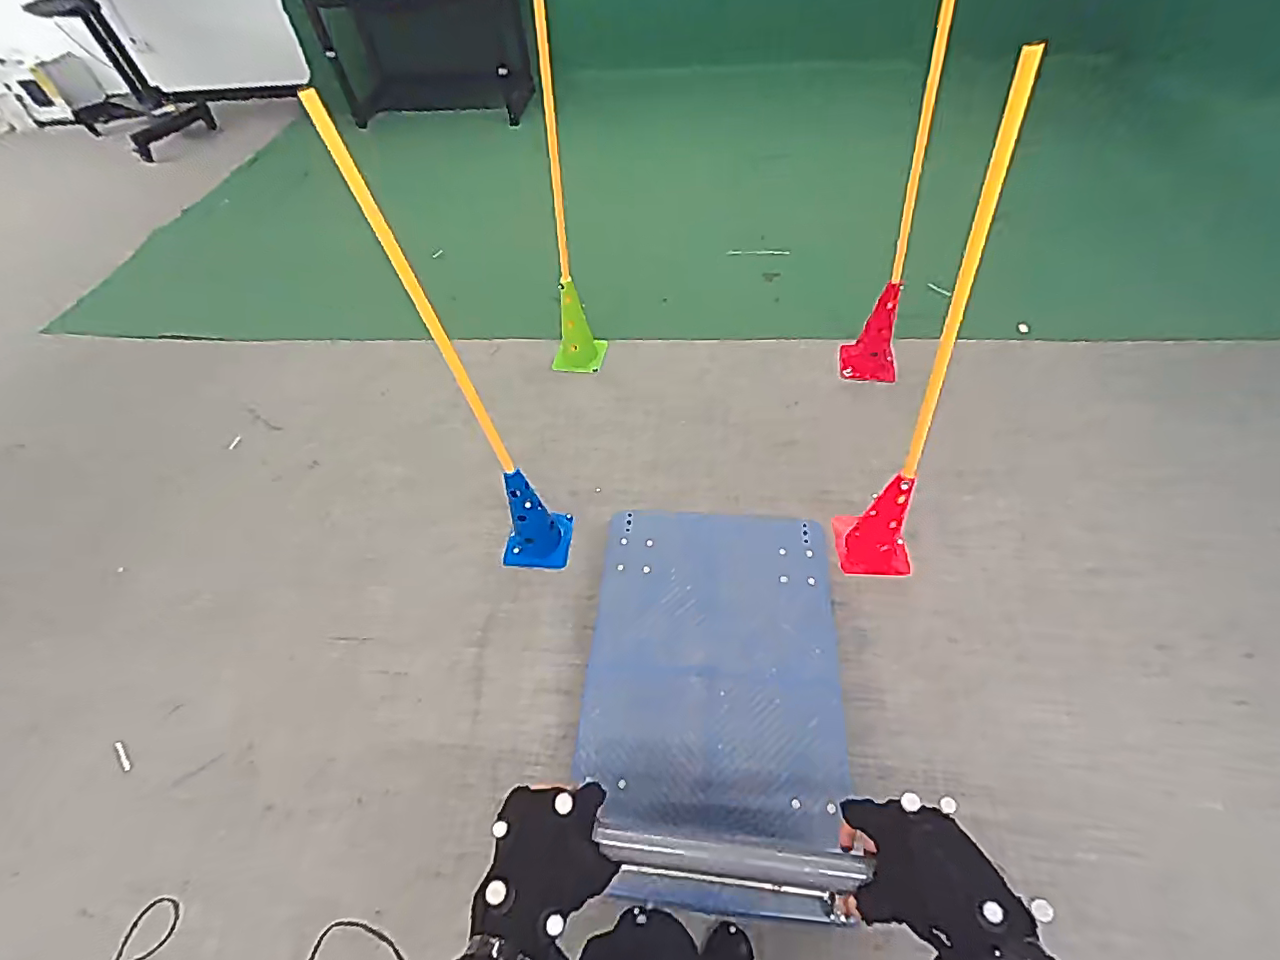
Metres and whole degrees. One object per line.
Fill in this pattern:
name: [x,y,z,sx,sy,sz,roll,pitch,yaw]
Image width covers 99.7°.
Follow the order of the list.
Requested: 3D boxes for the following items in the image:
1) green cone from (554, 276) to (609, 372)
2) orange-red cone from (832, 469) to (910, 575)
green cone: [-0.254,-0.621,2.102,0.202,0.368,0.200,5,53,9]
orange-red cone: [0.673,0.094,1.494,0.199,0.360,0.198,0,52,7]
